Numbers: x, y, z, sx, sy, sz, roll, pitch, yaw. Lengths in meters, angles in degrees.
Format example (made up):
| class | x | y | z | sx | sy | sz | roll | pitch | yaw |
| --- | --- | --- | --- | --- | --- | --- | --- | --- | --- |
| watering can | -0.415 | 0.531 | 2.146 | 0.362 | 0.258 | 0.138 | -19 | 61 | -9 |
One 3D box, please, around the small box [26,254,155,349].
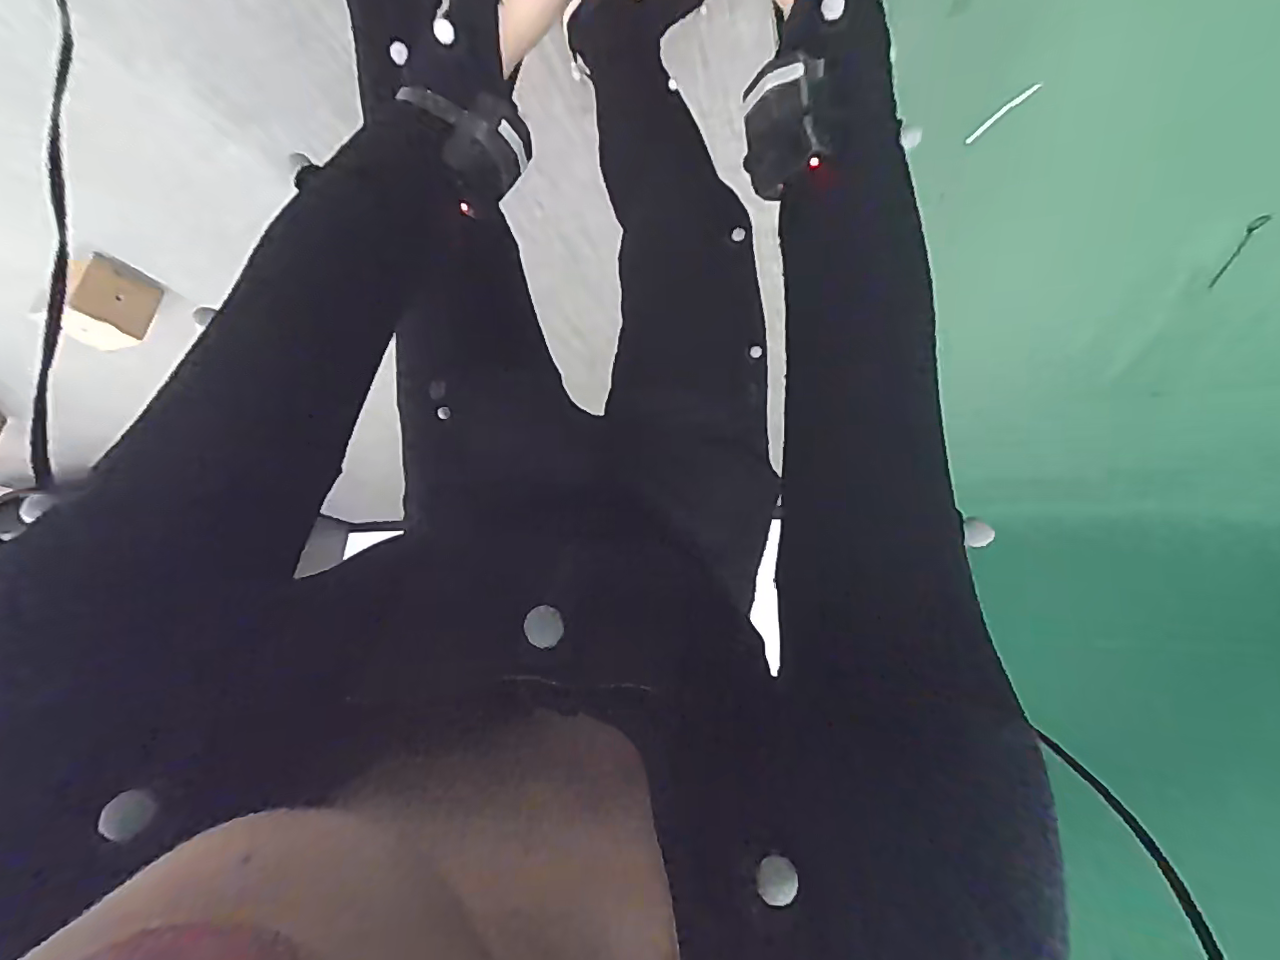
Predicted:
| class | x | y | z | sx | sy | sz | roll | pitch | yaw |
| --- | --- | --- | --- | --- | --- | --- | --- | --- | --- |
| small box | -1.449 | -0.474 | 1.438 | 0.179 | 0.176 | 0.168 | -3 | 159 | 19 |
